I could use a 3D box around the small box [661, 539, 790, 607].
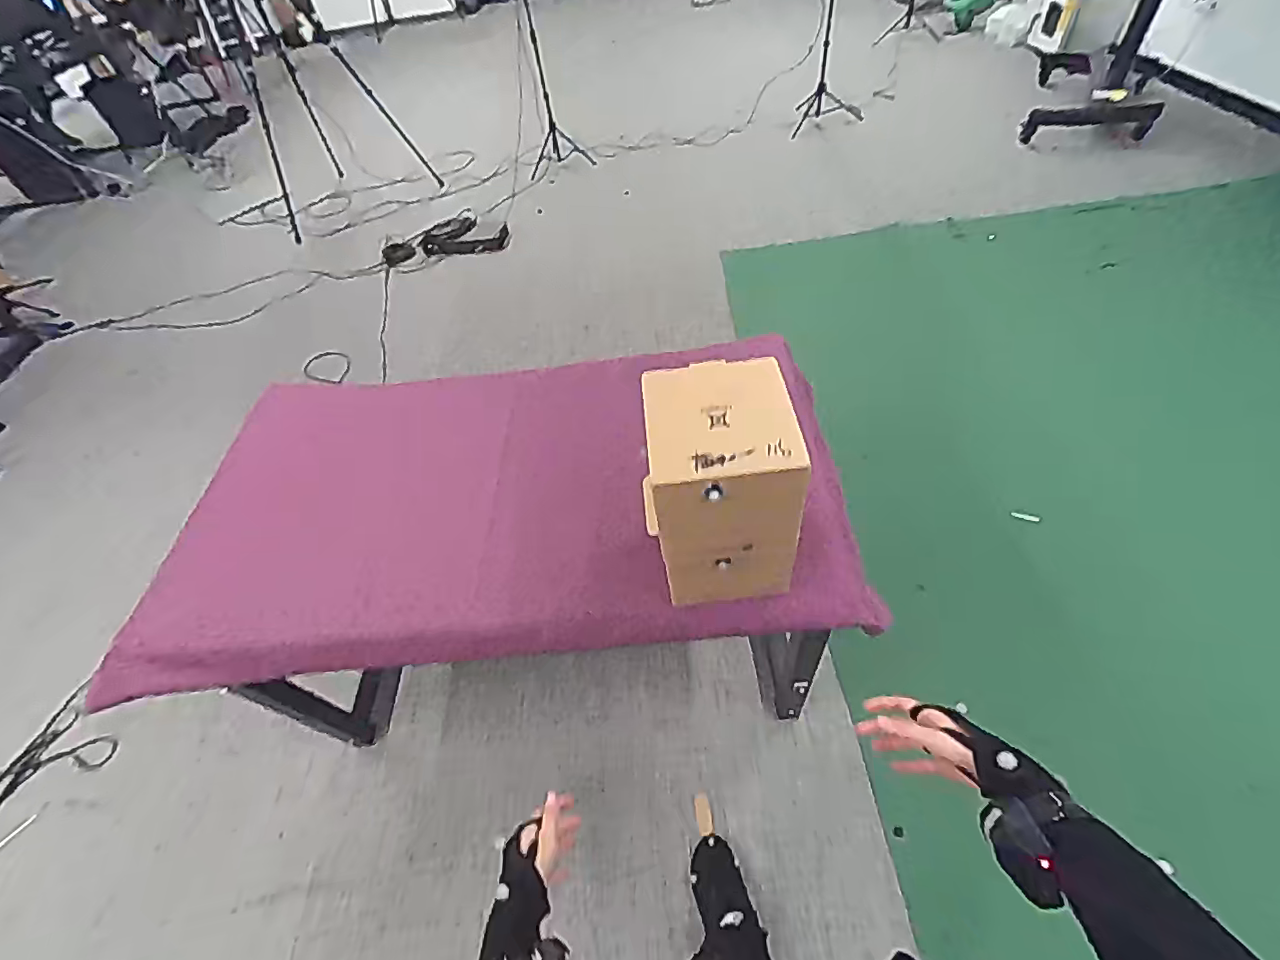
[{"bbox_3d":[0.121,0.076,0.805,0.179,0.176,0.168,-8,51,3],"label":"small box"}]

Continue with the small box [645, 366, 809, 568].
[{"bbox_3d":[0.098,-0.014,0.667,0.168,0.176,0.179,-7,50,4],"label":"small box"}]
